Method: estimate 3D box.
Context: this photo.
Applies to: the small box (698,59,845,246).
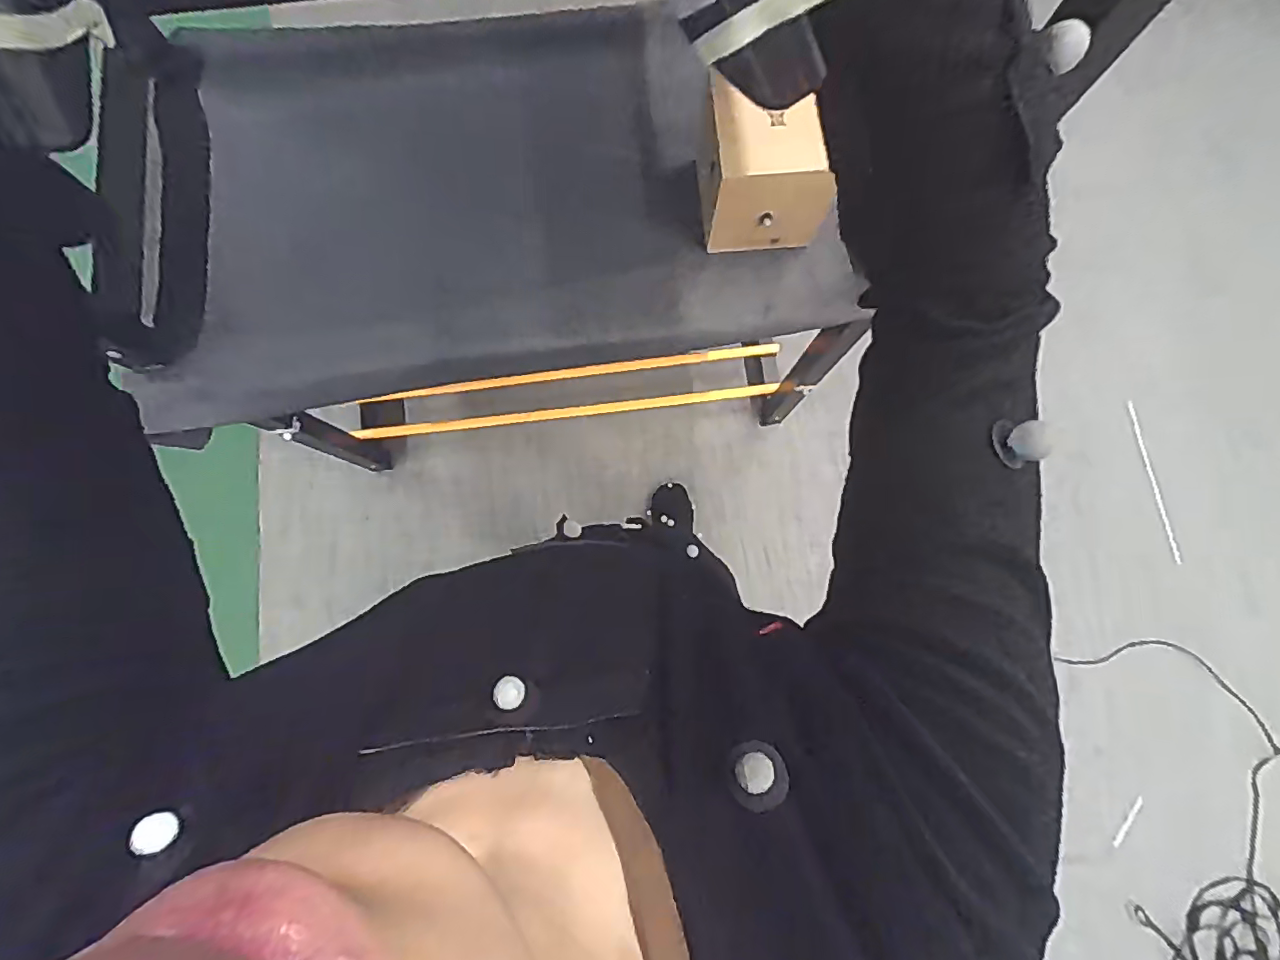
[{"bbox_3d":[0.180,-0.462,0.789,0.168,0.176,0.179,-4,79,-1],"label":"small box"}]
